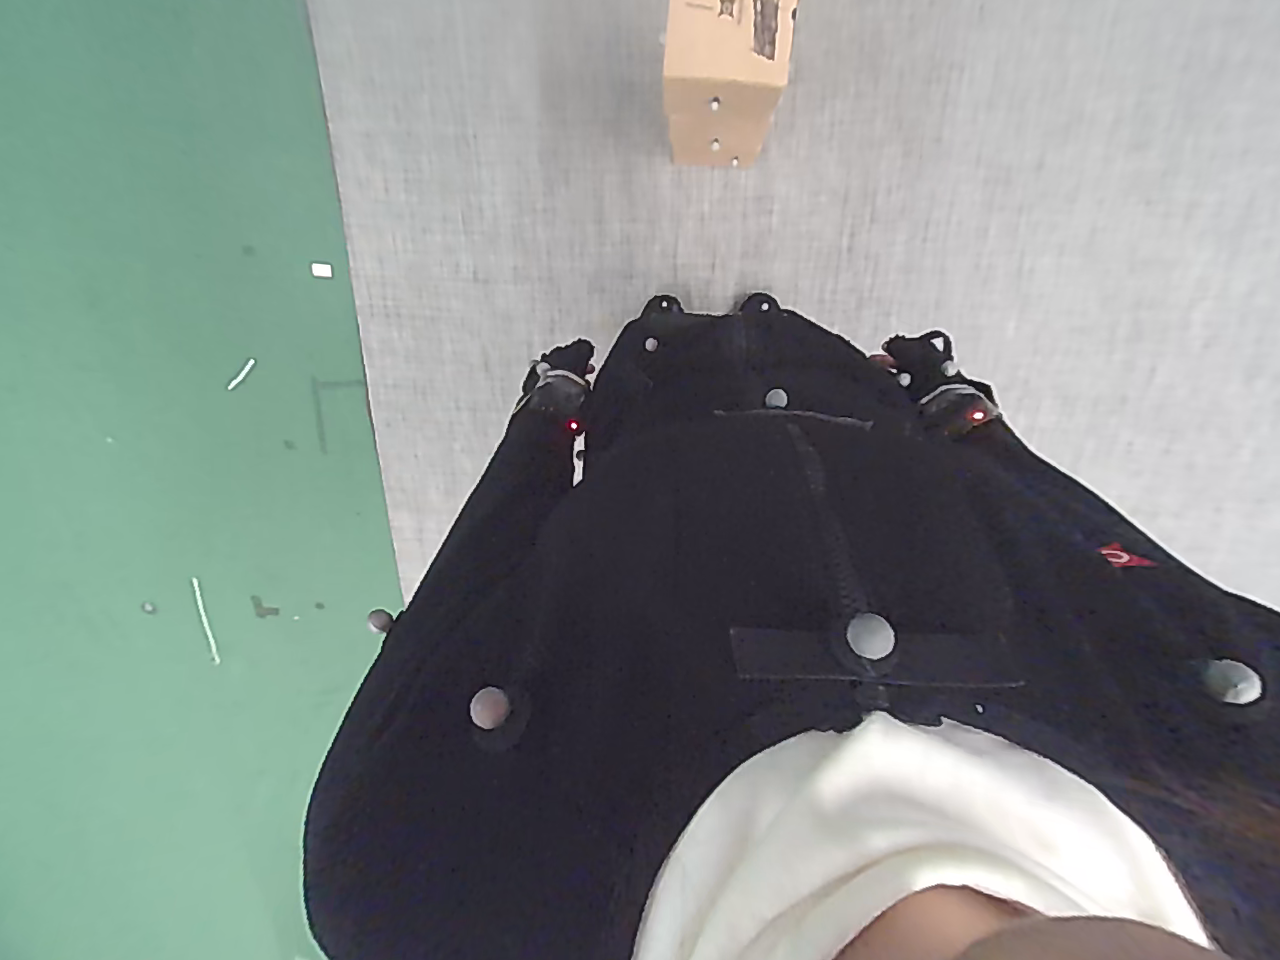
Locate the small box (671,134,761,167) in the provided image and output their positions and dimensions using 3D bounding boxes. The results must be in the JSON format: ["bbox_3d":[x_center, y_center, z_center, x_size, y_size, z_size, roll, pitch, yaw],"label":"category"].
[{"bbox_3d":[0.157,-0.758,1.115,0.179,0.176,0.168,4,108,4],"label":"small box"}]

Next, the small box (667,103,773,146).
[{"bbox_3d":[0.143,-0.709,0.959,0.179,0.176,0.168,5,109,2],"label":"small box"}]

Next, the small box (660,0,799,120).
[{"bbox_3d":[0.129,-0.658,0.803,0.179,0.176,0.168,8,109,3],"label":"small box"}]
